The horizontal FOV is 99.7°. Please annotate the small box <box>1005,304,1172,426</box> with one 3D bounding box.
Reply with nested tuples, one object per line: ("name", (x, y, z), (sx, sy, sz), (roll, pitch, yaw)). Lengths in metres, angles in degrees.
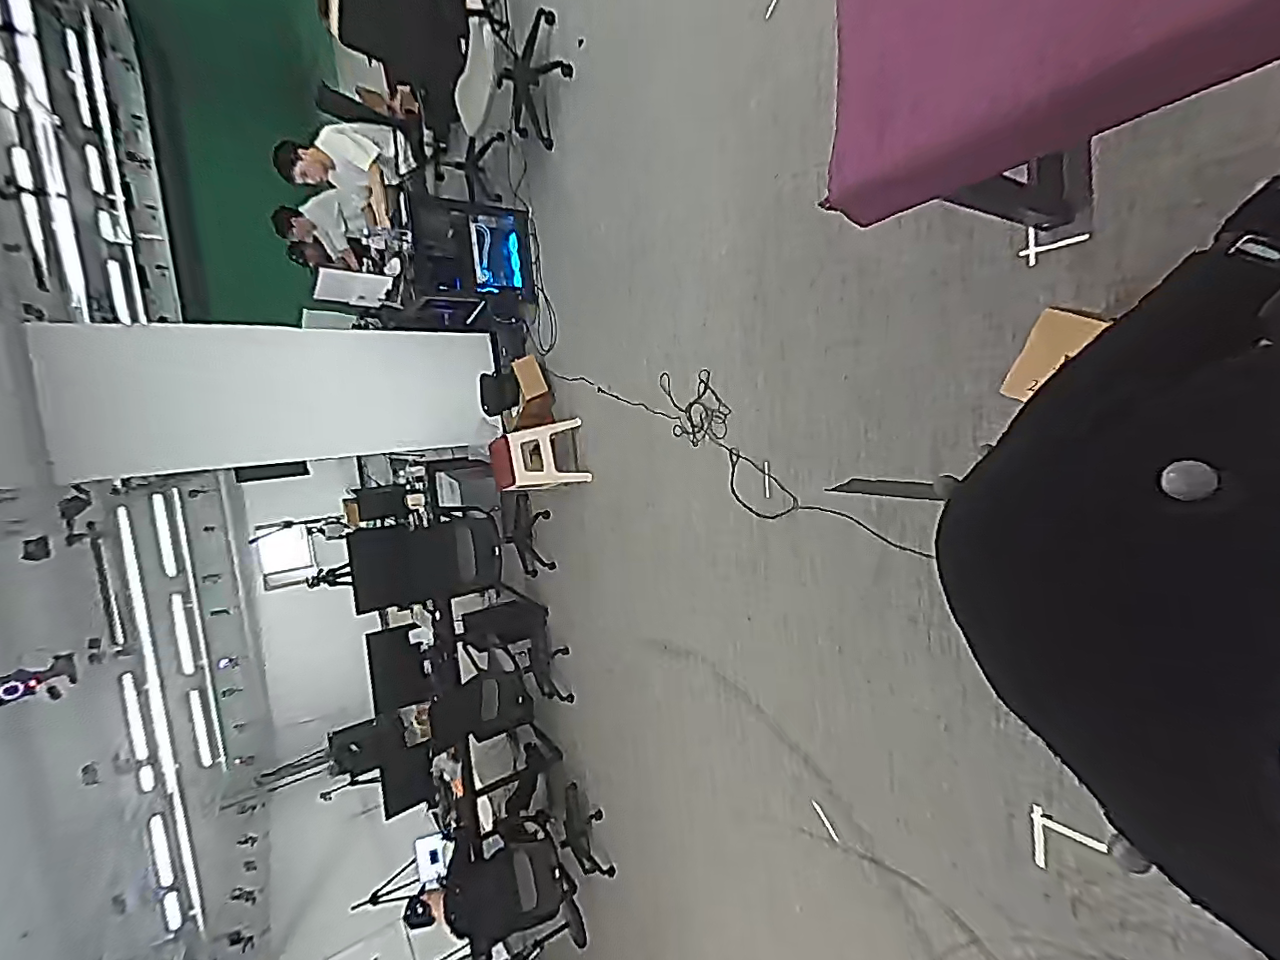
("small box", (0.851, -0.222, 1.025), (0.168, 0.176, 0.179), (43, 132, 43))
